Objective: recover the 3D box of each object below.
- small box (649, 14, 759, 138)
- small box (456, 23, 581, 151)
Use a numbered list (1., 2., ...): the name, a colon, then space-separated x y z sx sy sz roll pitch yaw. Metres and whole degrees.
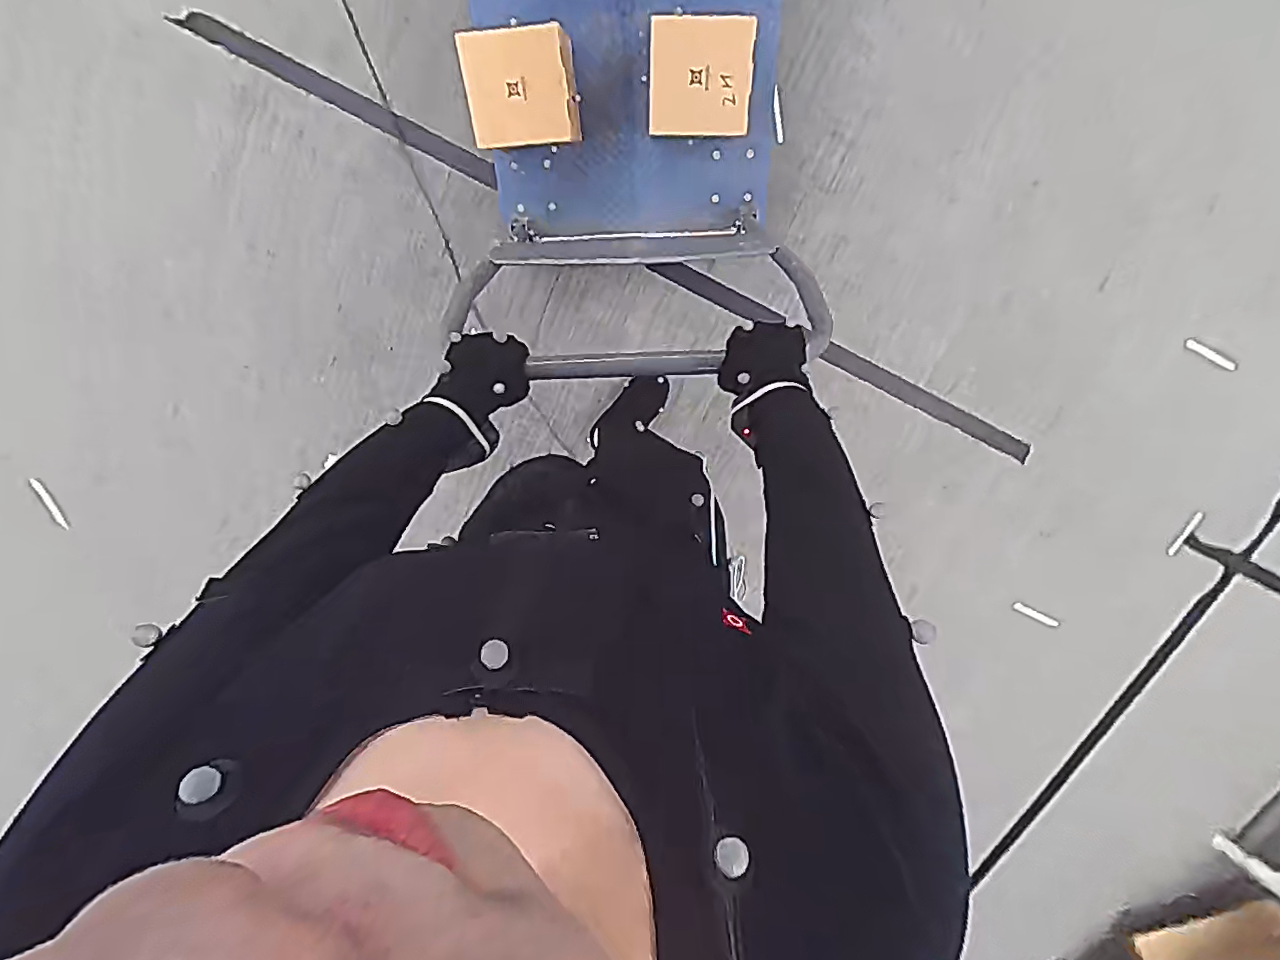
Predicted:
1. small box: 0.105 -0.722 0.981 0.179 0.176 0.168 0 122 0
2. small box: -0.210 -0.708 0.991 0.179 0.176 0.168 -5 121 2
